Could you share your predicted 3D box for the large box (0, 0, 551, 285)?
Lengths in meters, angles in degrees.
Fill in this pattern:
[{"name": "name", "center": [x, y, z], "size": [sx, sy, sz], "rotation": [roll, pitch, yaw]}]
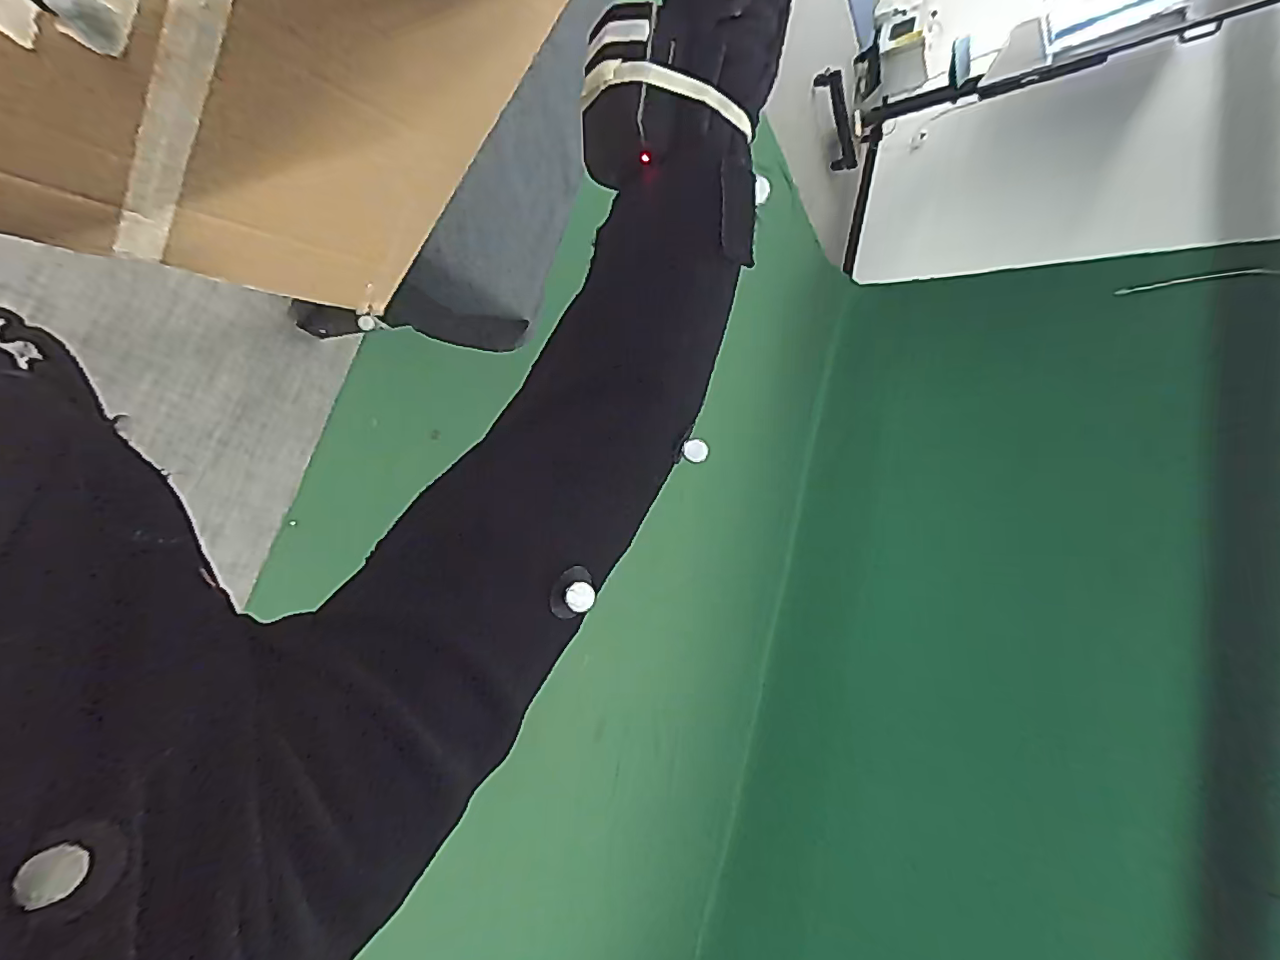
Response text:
[{"name": "large box", "center": [-0.248, -0.393, 0.288], "size": [0.320, 0.408, 0.320], "rotation": [-3, 59, -54]}]
